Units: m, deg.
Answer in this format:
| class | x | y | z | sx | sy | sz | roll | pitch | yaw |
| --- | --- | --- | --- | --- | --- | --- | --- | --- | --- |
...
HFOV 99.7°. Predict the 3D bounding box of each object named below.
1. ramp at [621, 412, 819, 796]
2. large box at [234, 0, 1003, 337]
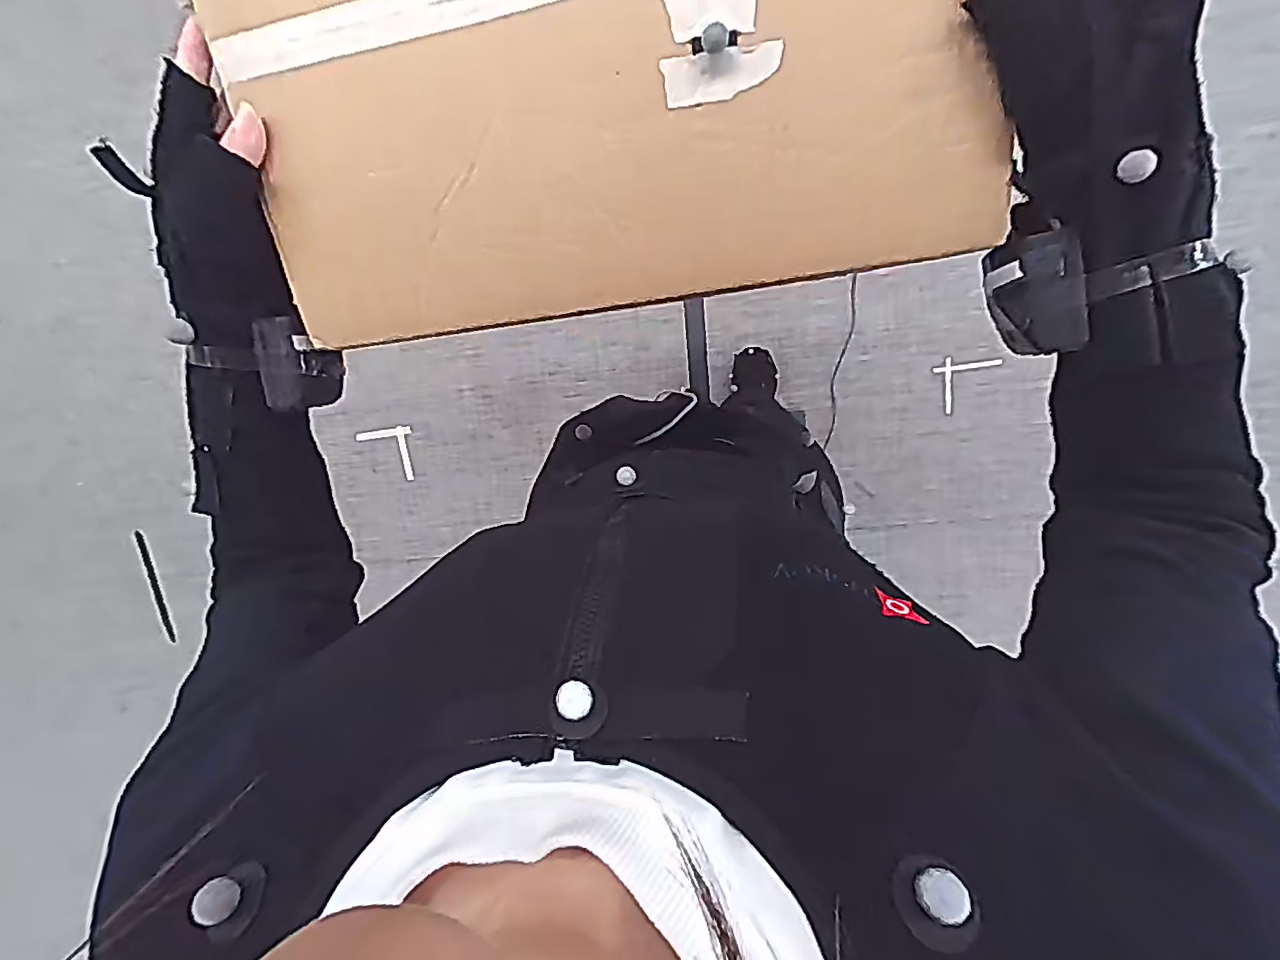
| class | x | y | z | sx | sy | sz | roll | pitch | yaw |
| --- | --- | --- | --- | --- | --- | --- | --- | --- | --- |
| ramp | 0.205 | 0.331 | 1.433 | 0.509 | 0.206 | 0.991 | -3 | 101 | 10 |
| large box | -0.011 | -0.307 | 0.416 | 0.408 | 0.320 | 0.320 | -6 | 109 | 9 |
